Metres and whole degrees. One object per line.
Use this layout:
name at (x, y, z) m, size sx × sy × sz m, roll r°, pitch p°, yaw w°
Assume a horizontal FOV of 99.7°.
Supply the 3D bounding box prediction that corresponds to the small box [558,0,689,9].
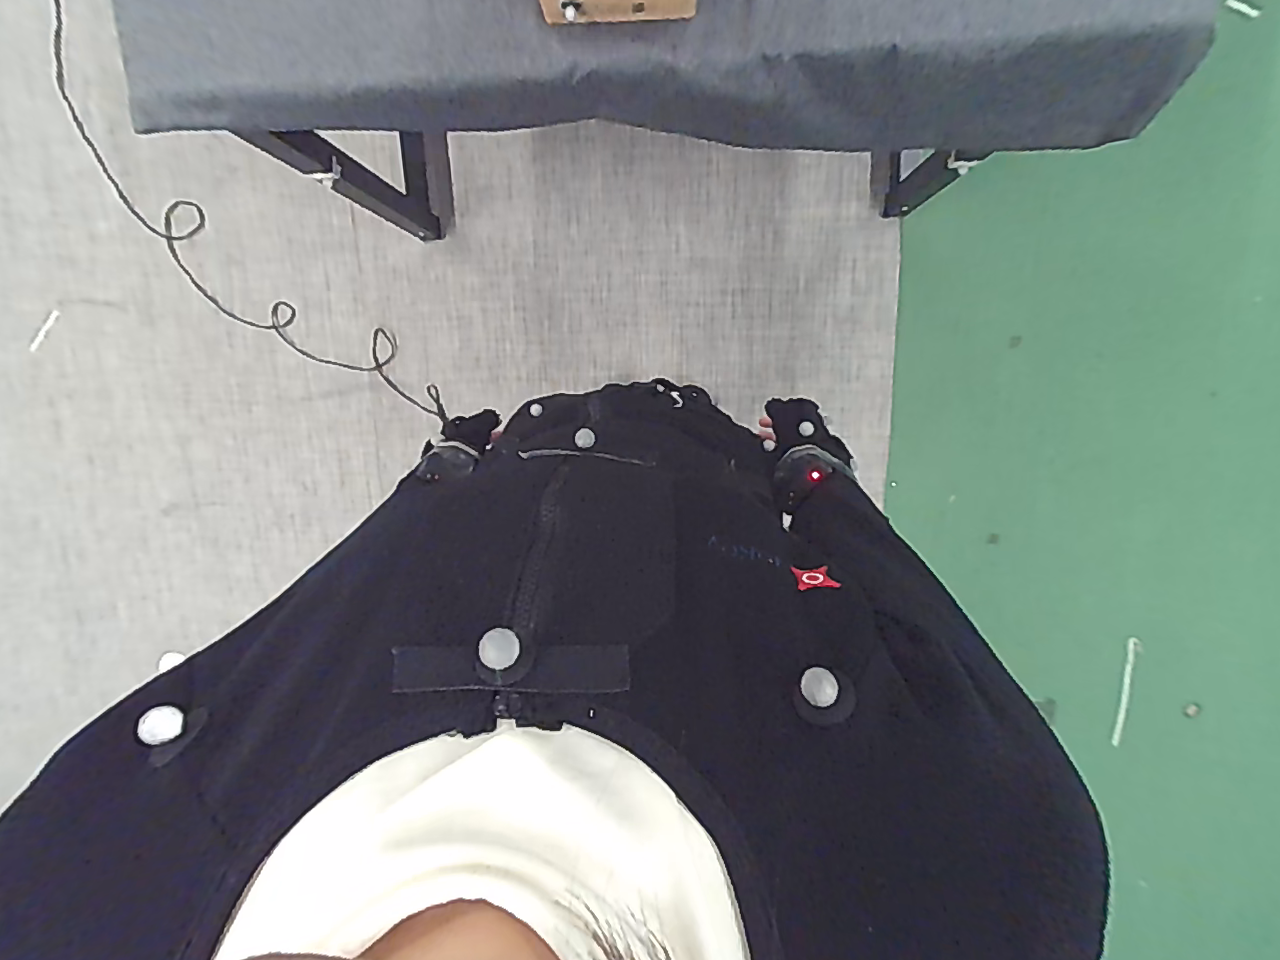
small box at (-0.027, -0.594, 0.514) m, size 0.168 × 0.176 × 0.179 m, roll 0°, pitch 98°, yaw 3°
